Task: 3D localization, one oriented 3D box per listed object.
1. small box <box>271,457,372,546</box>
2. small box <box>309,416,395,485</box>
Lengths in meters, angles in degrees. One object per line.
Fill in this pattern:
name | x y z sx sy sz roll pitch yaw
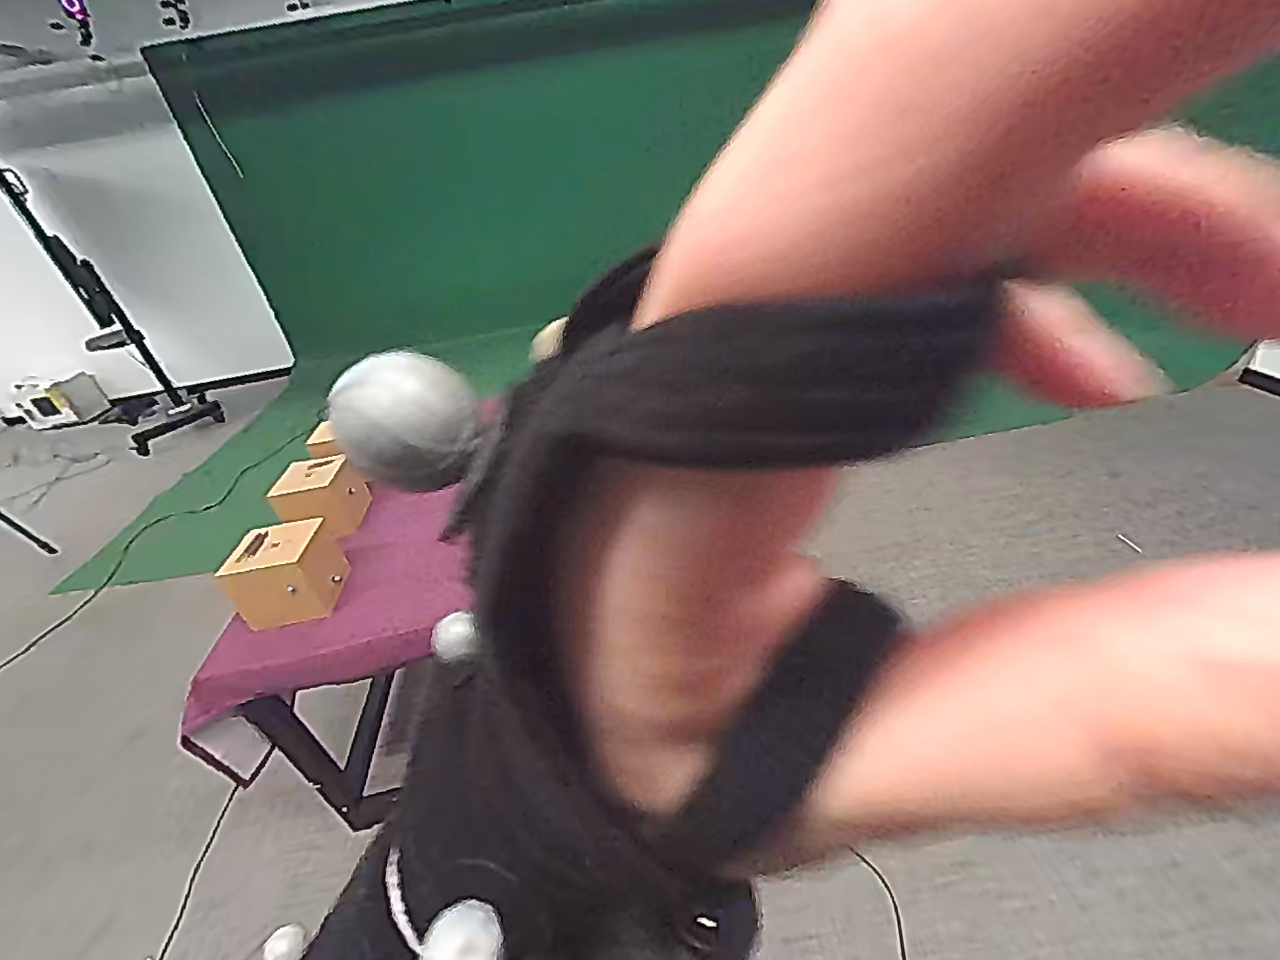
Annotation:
small box | -0.886 0.059 1.528 0.168 0.176 0.179 -11 34 -2
small box | -0.932 -0.087 1.766 0.179 0.176 0.168 -11 33 -4
